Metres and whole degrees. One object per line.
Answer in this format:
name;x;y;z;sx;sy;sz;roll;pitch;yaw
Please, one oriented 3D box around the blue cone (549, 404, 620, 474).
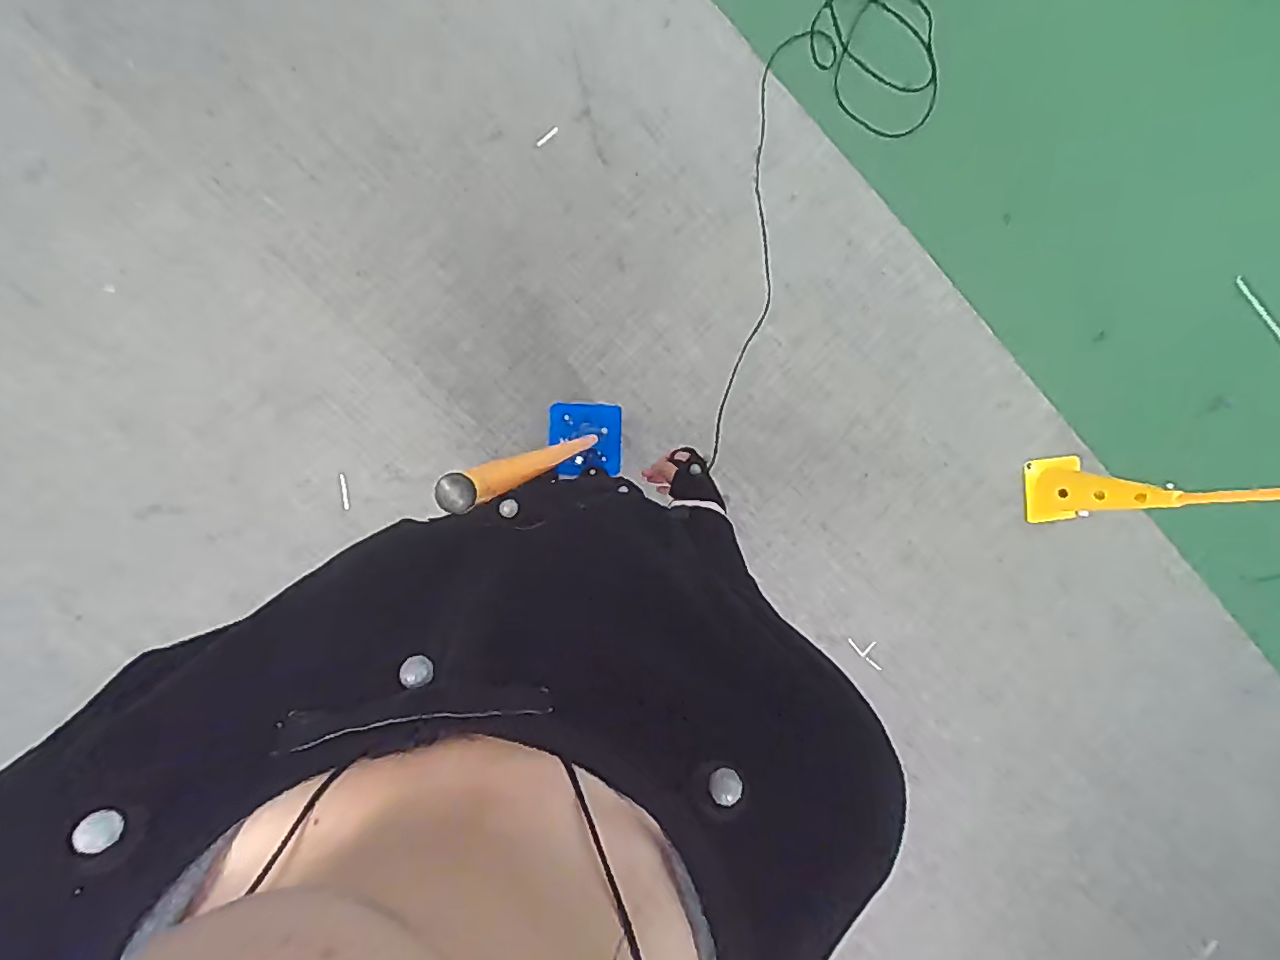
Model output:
blue cone;-0.130;-0.099;1.313;0.193;0.380;0.192;0;94;-7
